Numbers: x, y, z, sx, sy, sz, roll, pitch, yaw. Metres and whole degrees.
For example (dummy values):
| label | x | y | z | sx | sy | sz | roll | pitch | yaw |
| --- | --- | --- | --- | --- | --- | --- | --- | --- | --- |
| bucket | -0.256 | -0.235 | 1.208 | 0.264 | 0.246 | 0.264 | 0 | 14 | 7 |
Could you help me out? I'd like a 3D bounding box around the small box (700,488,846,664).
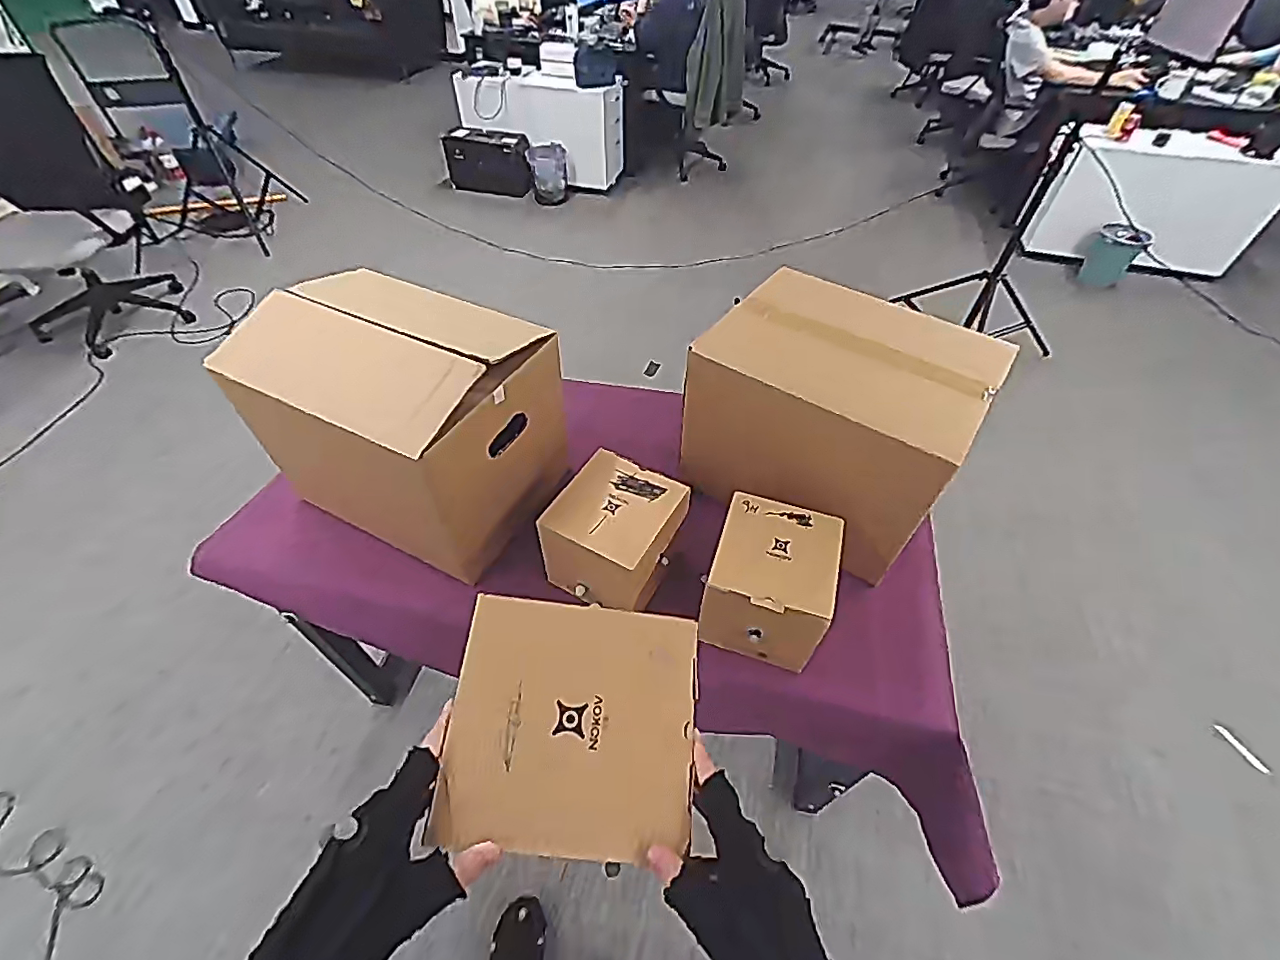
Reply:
| label | x | y | z | sx | sy | sz | roll | pitch | yaw |
| --- | --- | --- | --- | --- | --- | --- | --- | --- | --- |
| small box | 0.192 | 0.146 | 0.807 | 0.168 | 0.176 | 0.179 | 16 | 51 | 12 |
